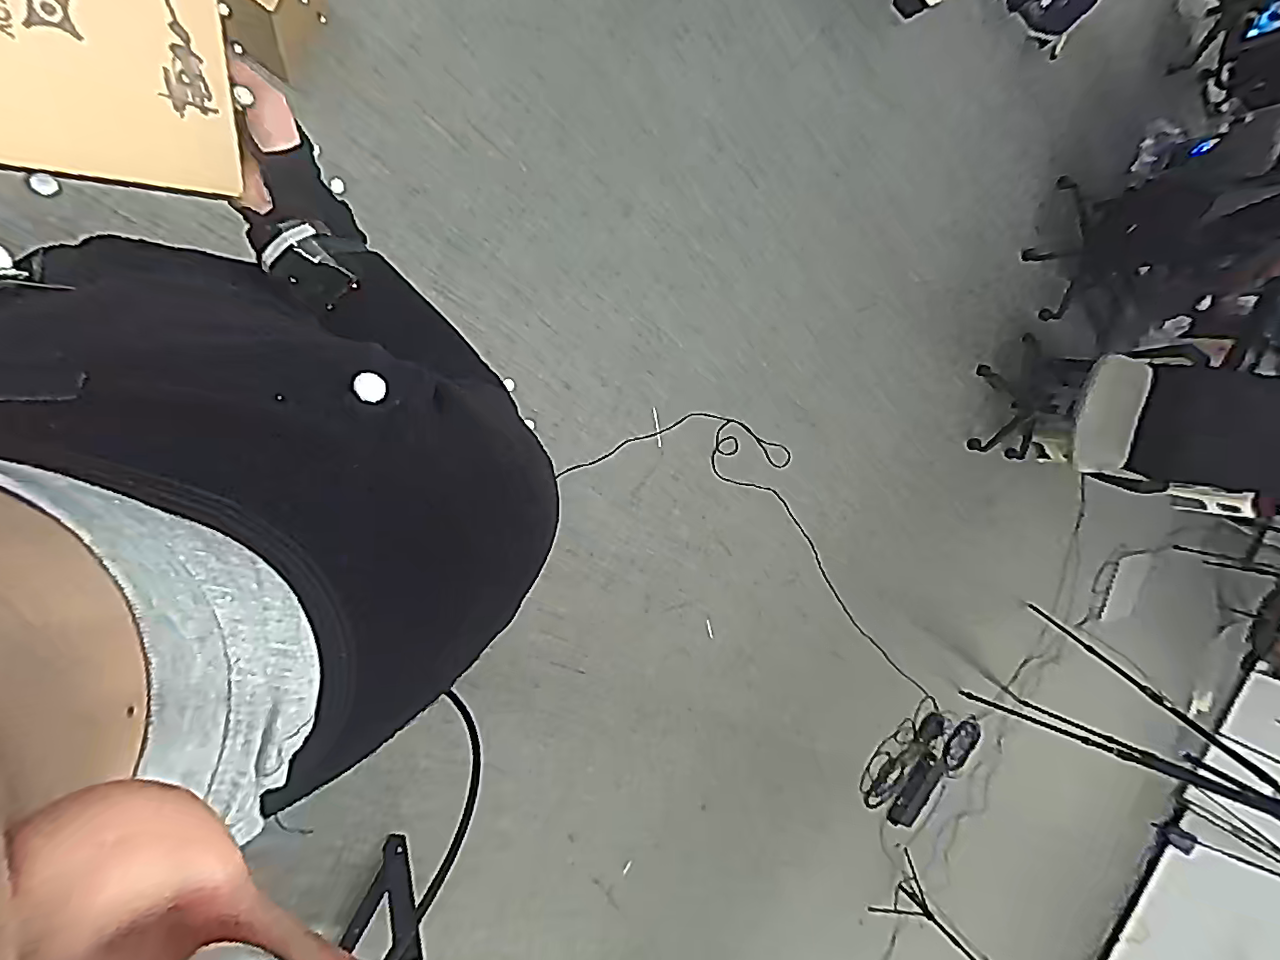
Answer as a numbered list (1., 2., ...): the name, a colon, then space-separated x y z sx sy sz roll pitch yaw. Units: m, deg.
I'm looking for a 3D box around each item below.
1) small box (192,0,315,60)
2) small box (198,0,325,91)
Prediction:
1. small box: -0.677 -0.893 0.934 0.168 0.176 0.179 27 90 -31
2. small box: -0.750 -0.935 1.076 0.168 0.176 0.179 28 90 -31
